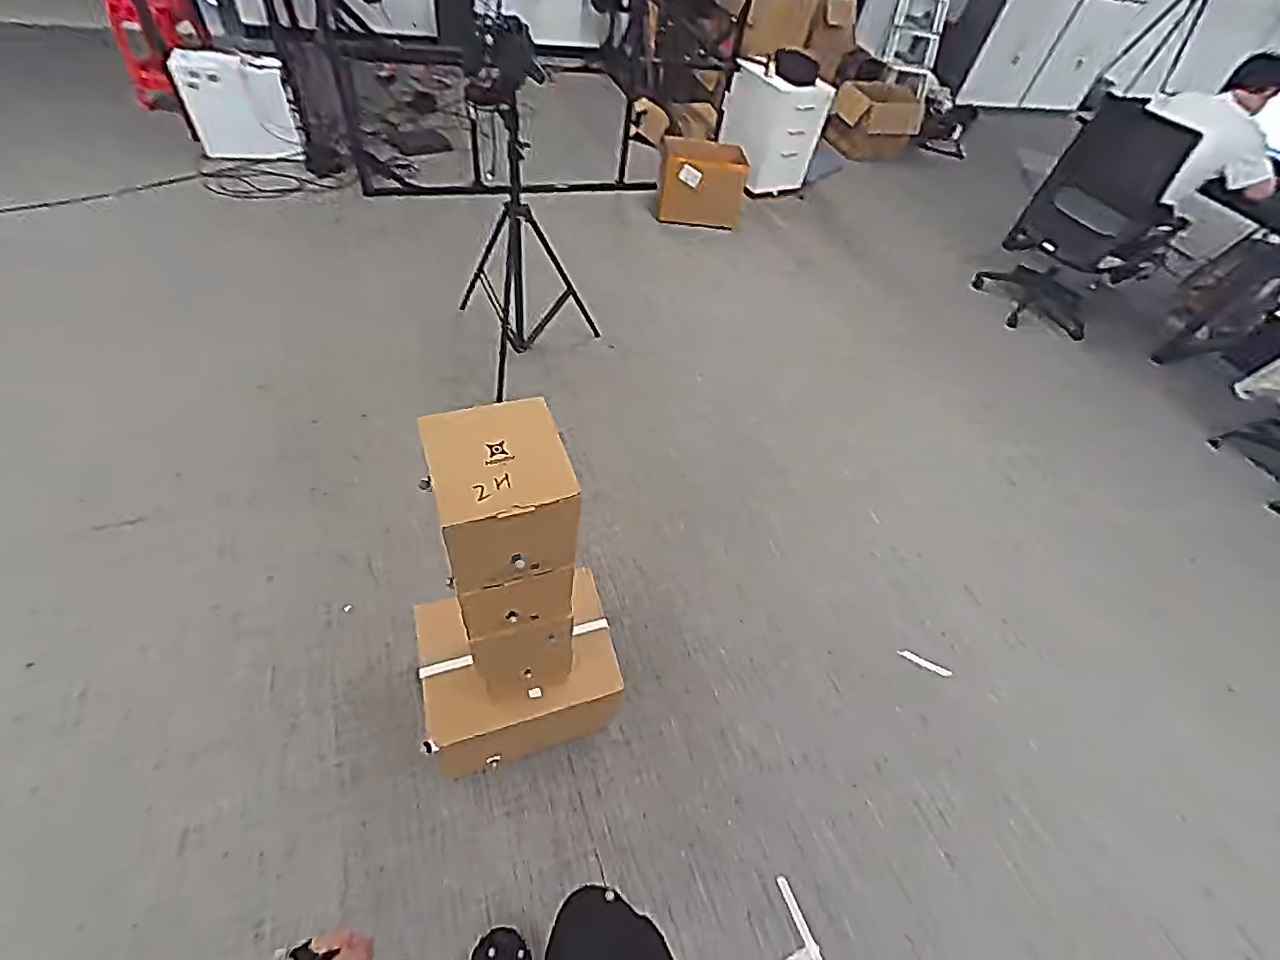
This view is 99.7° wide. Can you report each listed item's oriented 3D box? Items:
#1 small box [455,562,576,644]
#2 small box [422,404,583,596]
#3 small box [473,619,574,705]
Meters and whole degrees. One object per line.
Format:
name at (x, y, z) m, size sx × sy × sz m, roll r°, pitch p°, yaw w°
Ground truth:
small box at (-0.208, 0.130, 0.857) m, size 0.168 × 0.176 × 0.179 m, roll -12°, pitch 56°, yaw -20°
small box at (-0.186, 0.027, 0.730) m, size 0.168 × 0.176 × 0.179 m, roll -14°, pitch 57°, yaw -20°
small box at (-0.244, 0.338, 1.107) m, size 0.179 × 0.176 × 0.168 m, roll -12°, pitch 56°, yaw -20°
